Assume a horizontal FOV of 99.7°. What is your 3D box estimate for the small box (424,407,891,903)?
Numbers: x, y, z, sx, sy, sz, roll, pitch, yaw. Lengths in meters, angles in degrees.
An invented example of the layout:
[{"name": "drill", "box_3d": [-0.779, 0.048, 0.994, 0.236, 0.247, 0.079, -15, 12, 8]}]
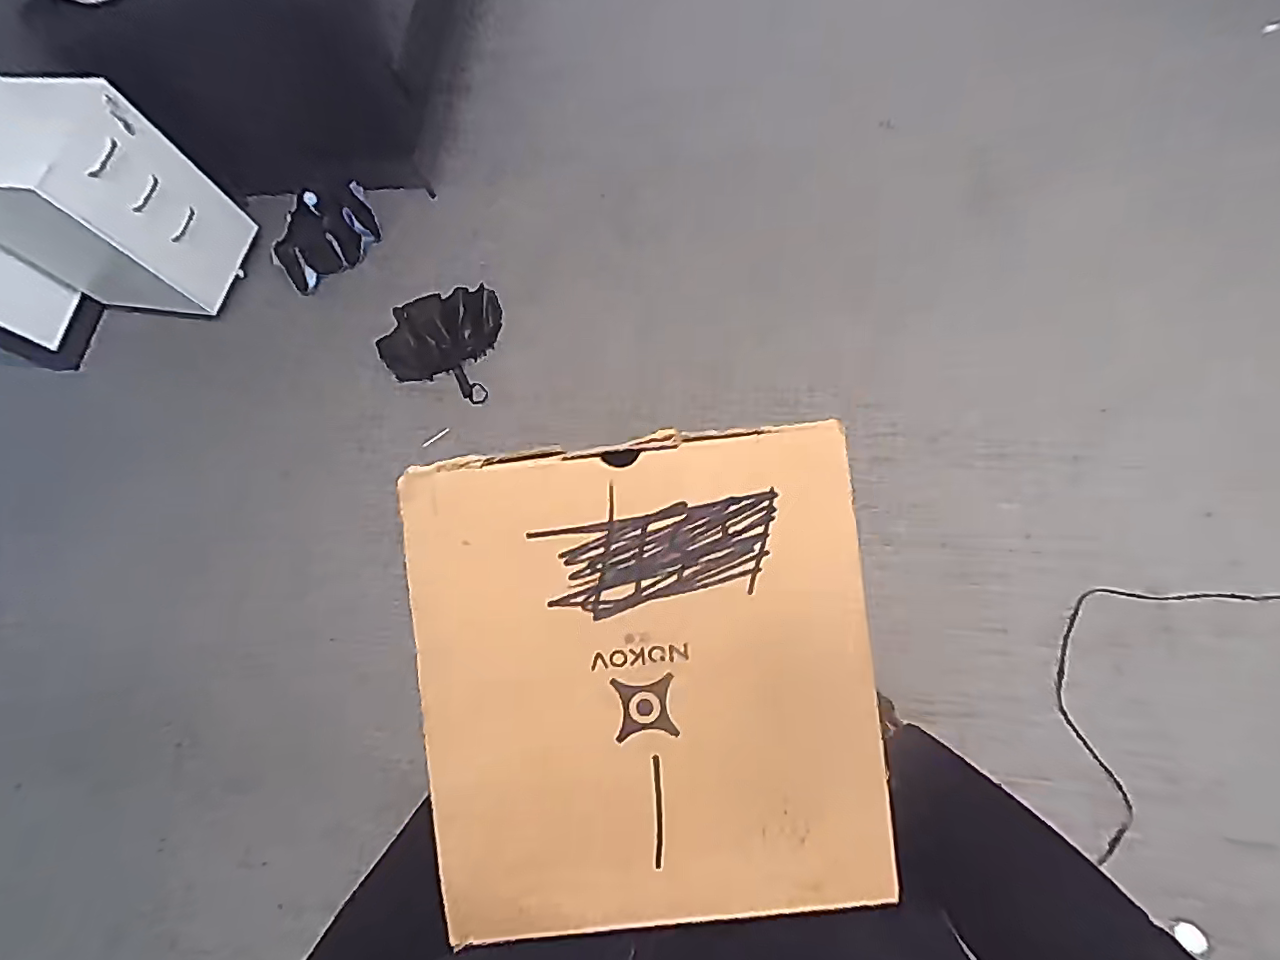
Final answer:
[{"name": "small box", "box_3d": [0.006, 0.068, 0.286, 0.168, 0.176, 0.179, -7, 89, 1]}]
